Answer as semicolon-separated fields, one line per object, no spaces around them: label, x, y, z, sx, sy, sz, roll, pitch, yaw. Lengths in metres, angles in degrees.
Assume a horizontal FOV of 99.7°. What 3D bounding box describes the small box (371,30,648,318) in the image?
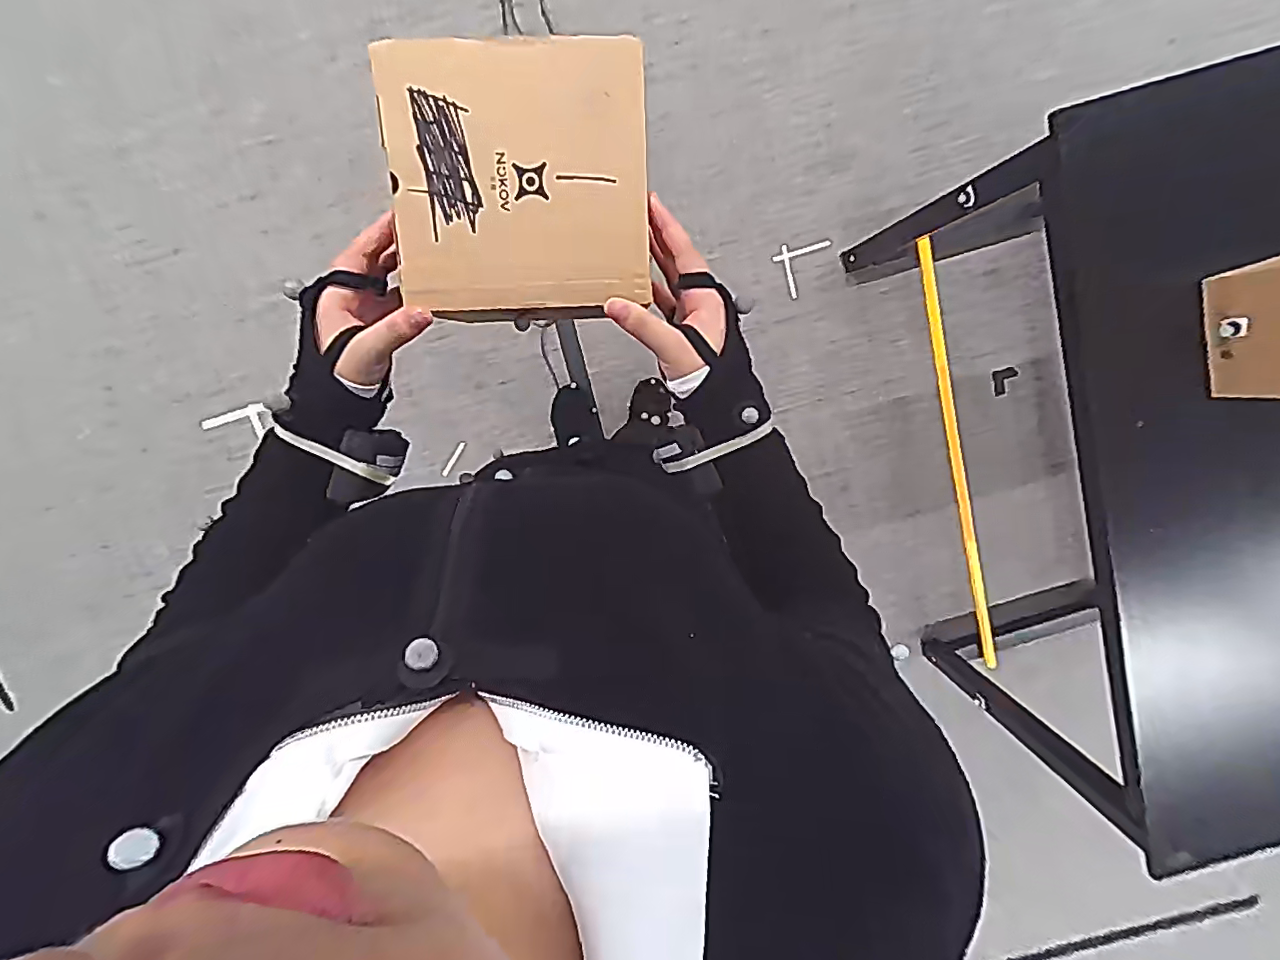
small box;-0.086;-0.224;0.440;0.179;0.176;0.168;-3;104;-2

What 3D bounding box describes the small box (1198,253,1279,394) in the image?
small box;0.862;-0.209;0.665;0.179;0.176;0.168;-17;99;2
